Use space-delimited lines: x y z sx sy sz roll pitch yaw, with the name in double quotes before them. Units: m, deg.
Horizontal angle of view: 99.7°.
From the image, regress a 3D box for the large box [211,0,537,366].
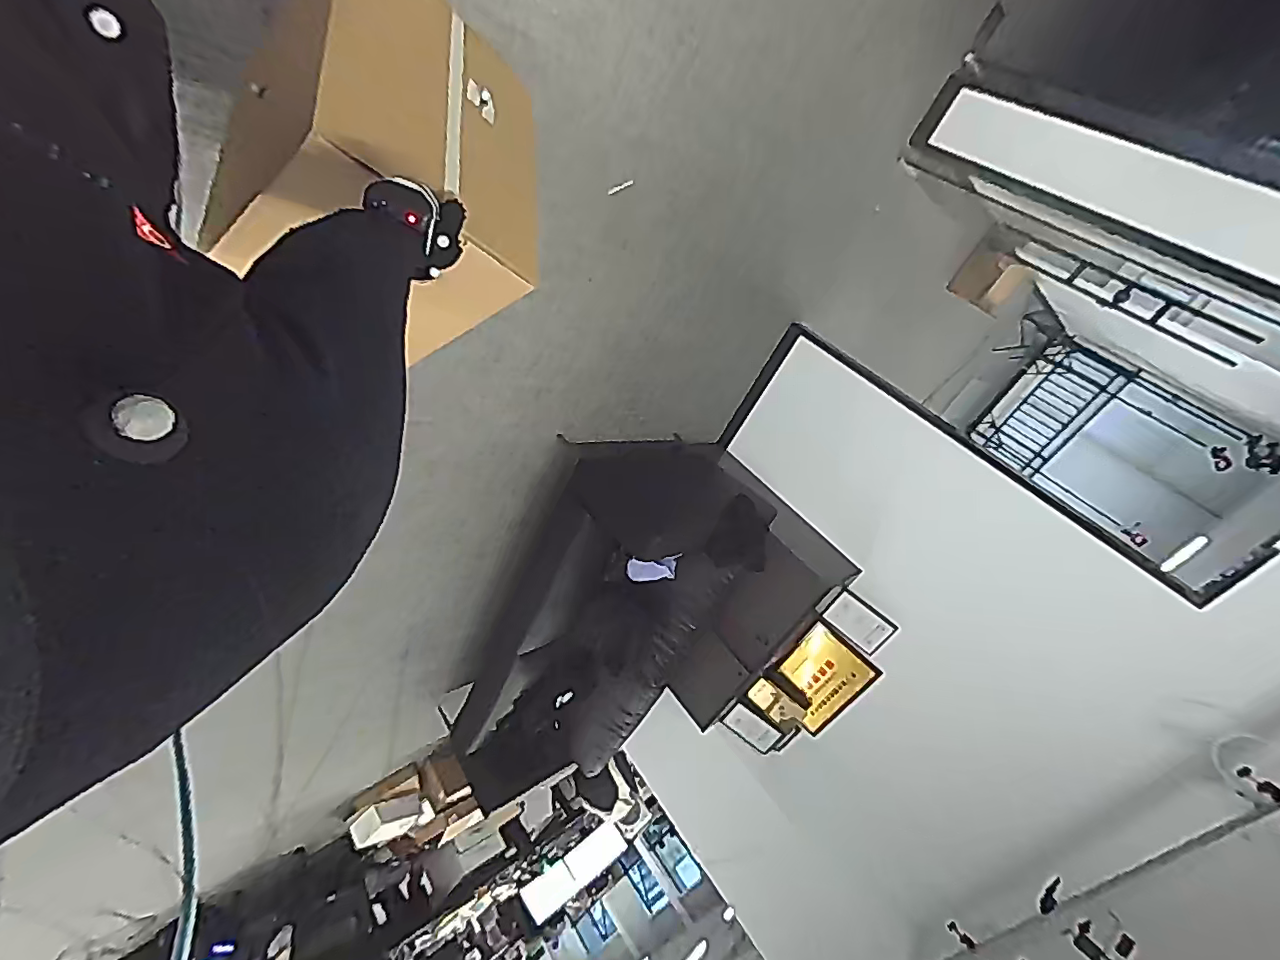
"large box" -0.381 -0.450 0.813 0.320 0.408 0.320 -19 156 30
